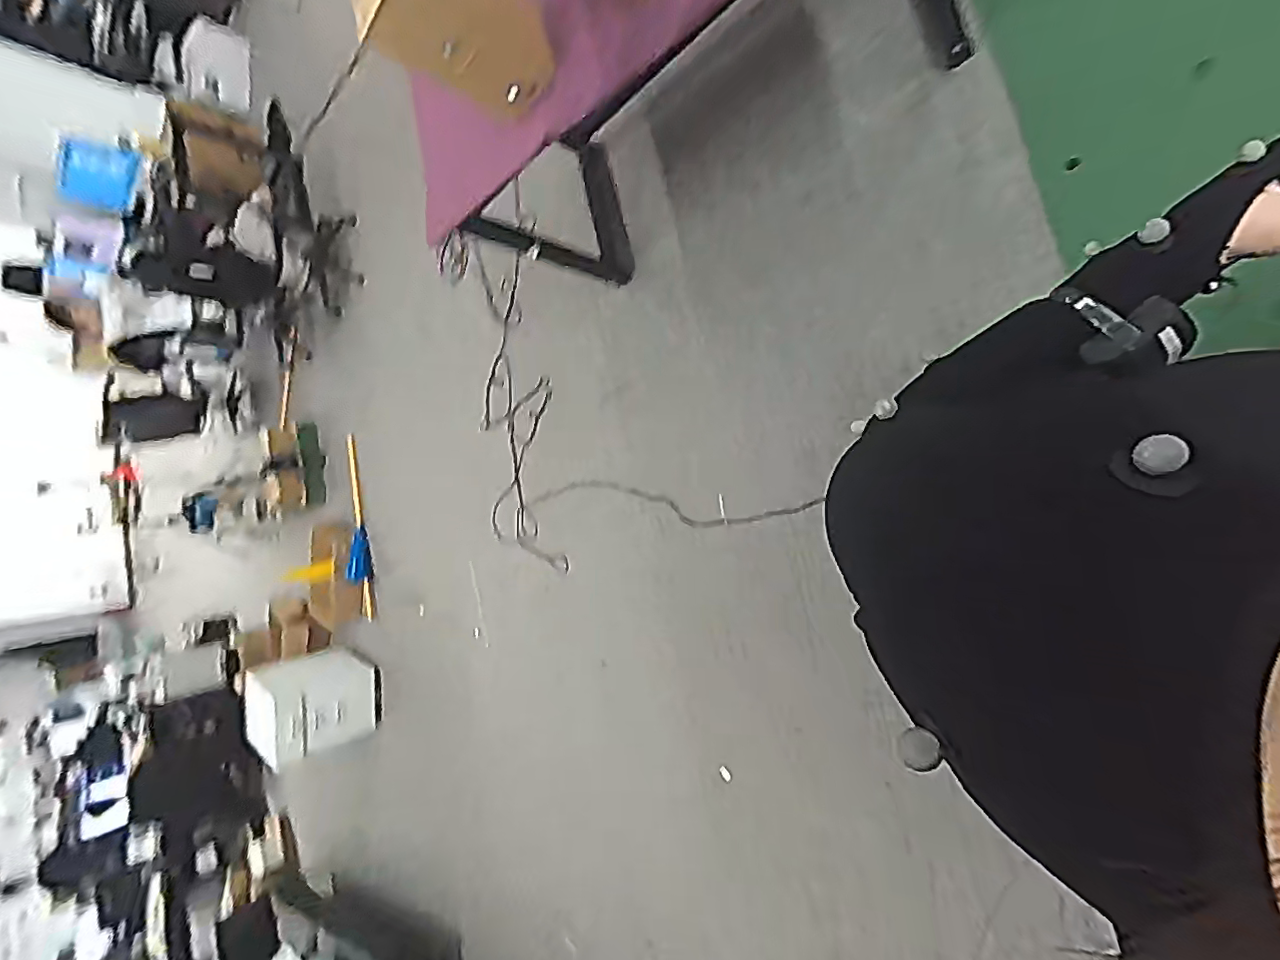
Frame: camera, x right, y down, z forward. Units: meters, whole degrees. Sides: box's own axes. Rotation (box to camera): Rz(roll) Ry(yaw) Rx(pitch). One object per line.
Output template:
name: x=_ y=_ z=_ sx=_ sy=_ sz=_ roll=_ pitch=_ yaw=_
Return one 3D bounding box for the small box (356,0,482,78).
small box: x=-0.411 y=-0.917 z=1.008 sx=0.179 sy=0.176 sz=0.168 roll=-20 pitch=78 yaw=38

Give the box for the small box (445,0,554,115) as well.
small box: x=-0.304 y=-0.925 z=1.132 sx=0.168 sy=0.176 sz=0.179 roll=-19 pitch=79 yaw=40
